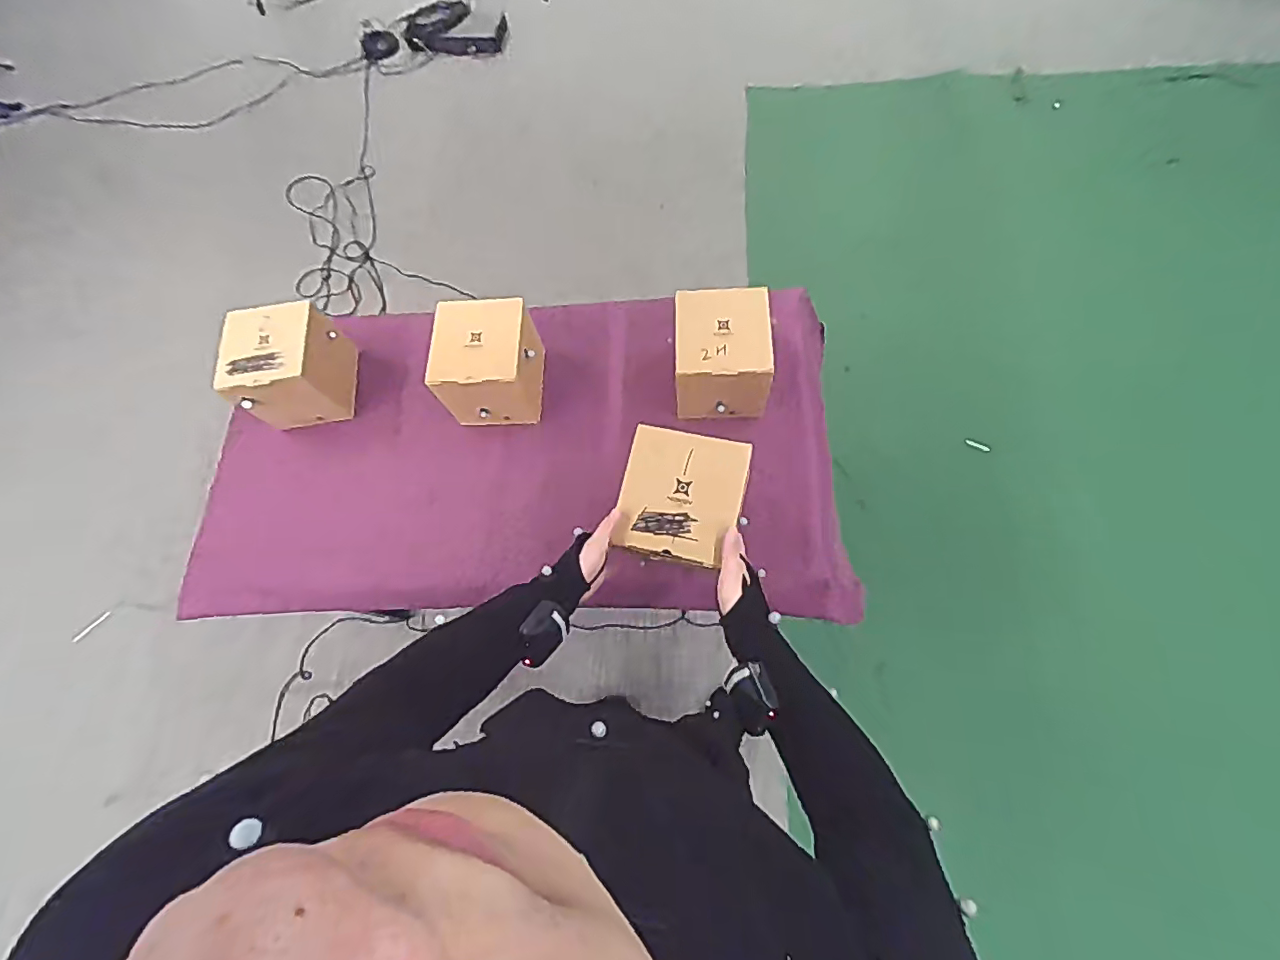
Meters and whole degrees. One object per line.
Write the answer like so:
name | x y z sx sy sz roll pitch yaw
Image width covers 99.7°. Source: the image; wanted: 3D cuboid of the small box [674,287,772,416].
small box | 0.148 -0.235 1.013 0.168 0.176 0.179 -1 70 5

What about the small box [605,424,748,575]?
small box | 0.062 0.038 0.812 0.168 0.176 0.179 13 77 11

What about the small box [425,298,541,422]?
small box | -0.292 -0.226 1.044 0.168 0.176 0.179 -1 71 3
